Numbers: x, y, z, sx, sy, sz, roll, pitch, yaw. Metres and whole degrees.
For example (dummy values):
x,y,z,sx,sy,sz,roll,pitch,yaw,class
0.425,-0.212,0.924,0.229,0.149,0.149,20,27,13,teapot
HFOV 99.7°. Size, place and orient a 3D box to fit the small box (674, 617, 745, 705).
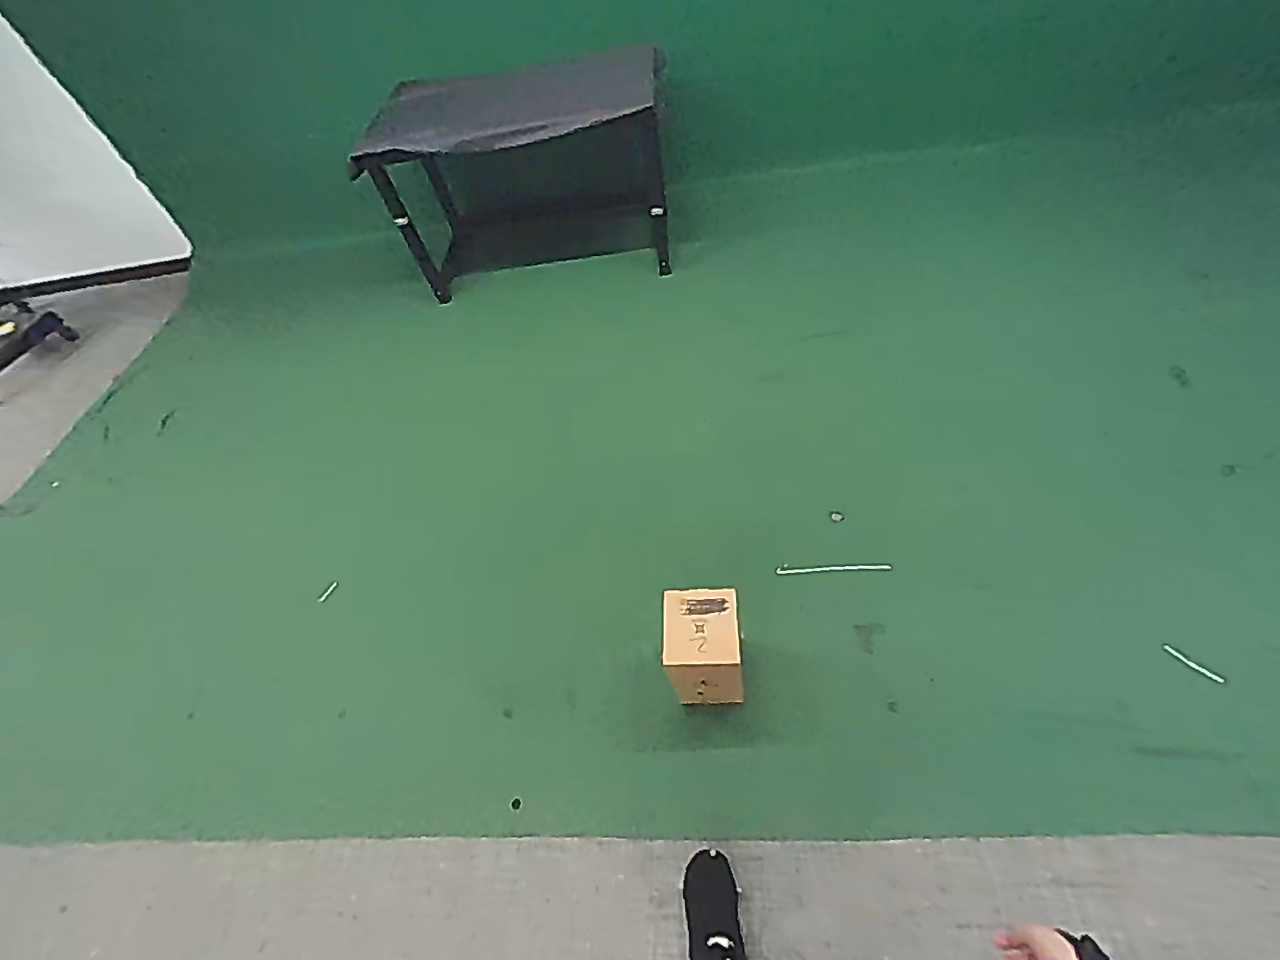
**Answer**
x,y,z,sx,sy,sz,roll,pitch,yaw,class
0.178,0.466,1.378,0.168,0.176,0.179,-4,52,9,small box
